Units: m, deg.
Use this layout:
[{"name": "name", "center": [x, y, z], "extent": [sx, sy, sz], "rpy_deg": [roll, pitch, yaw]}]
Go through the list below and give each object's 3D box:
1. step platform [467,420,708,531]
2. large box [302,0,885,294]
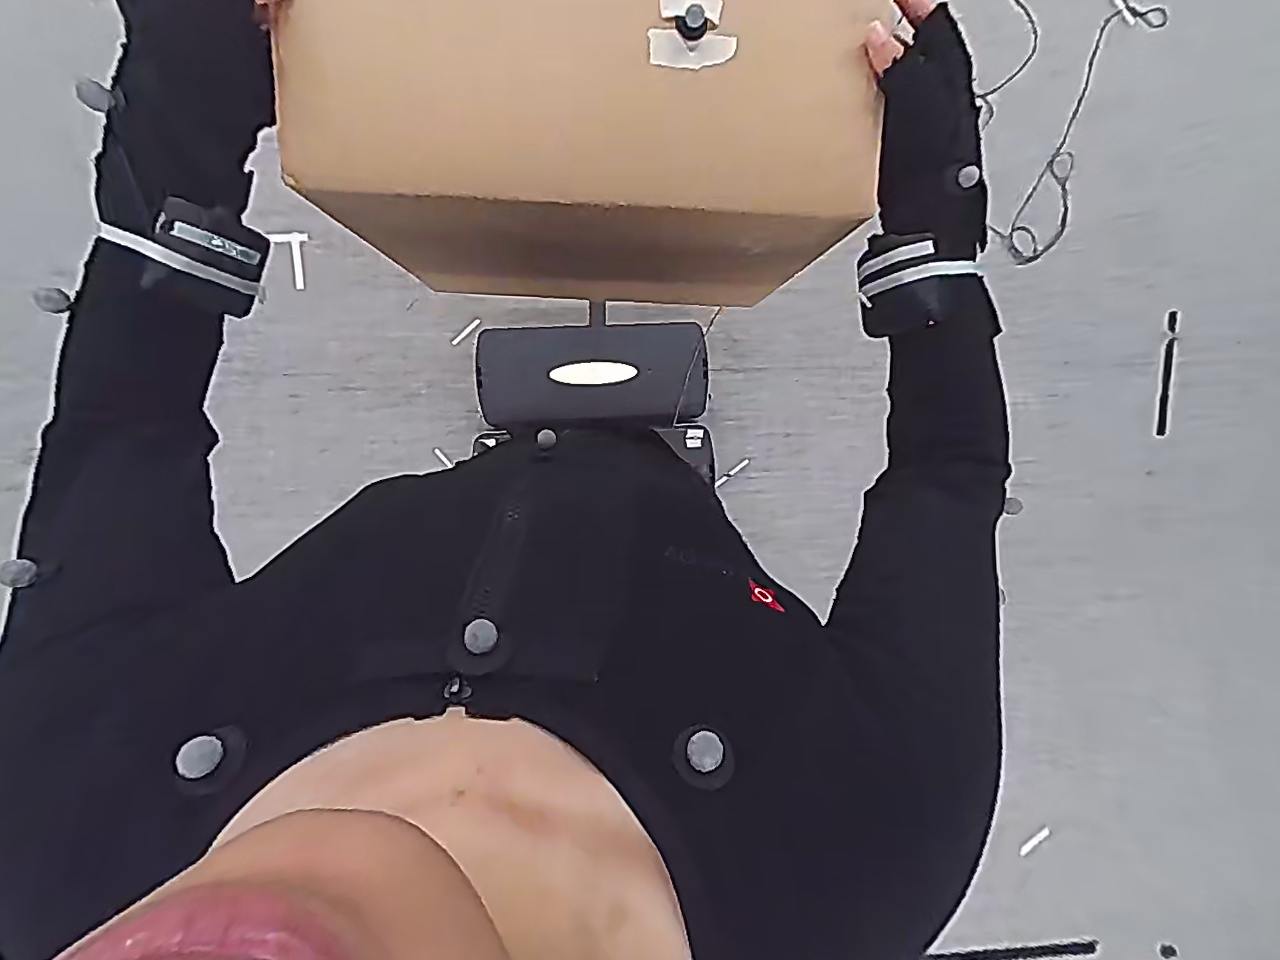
[{"name": "step platform", "center": [-0.146, -0.016, 1.570], "extent": [0.684, 0.204, 0.286], "rpy_deg": [-3, 95, -2]}, {"name": "large box", "center": [-0.036, -0.369, 0.513], "extent": [0.408, 0.320, 0.320], "rpy_deg": [1, 97, -4]}]
